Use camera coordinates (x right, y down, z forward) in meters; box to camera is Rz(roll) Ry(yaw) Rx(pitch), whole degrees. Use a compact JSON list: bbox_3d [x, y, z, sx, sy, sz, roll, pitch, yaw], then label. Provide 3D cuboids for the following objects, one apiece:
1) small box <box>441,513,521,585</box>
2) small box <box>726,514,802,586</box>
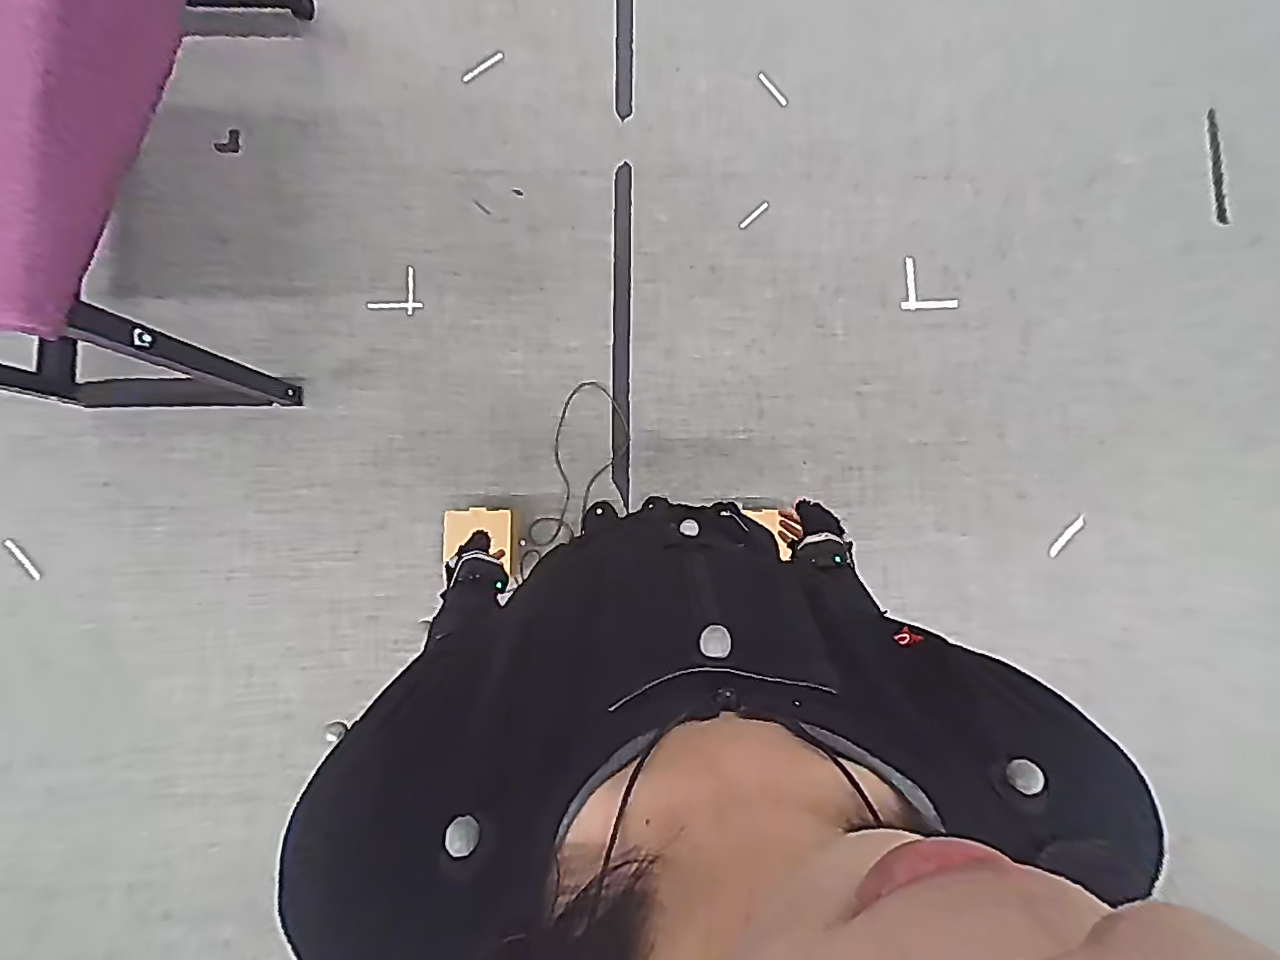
[{"bbox_3d":[-0.407,0.179,1.410,0.168,0.176,0.179,0,84,-3],"label":"small box"},{"bbox_3d":[0.326,0.183,1.449,0.168,0.176,0.179,2,87,-1],"label":"small box"}]
